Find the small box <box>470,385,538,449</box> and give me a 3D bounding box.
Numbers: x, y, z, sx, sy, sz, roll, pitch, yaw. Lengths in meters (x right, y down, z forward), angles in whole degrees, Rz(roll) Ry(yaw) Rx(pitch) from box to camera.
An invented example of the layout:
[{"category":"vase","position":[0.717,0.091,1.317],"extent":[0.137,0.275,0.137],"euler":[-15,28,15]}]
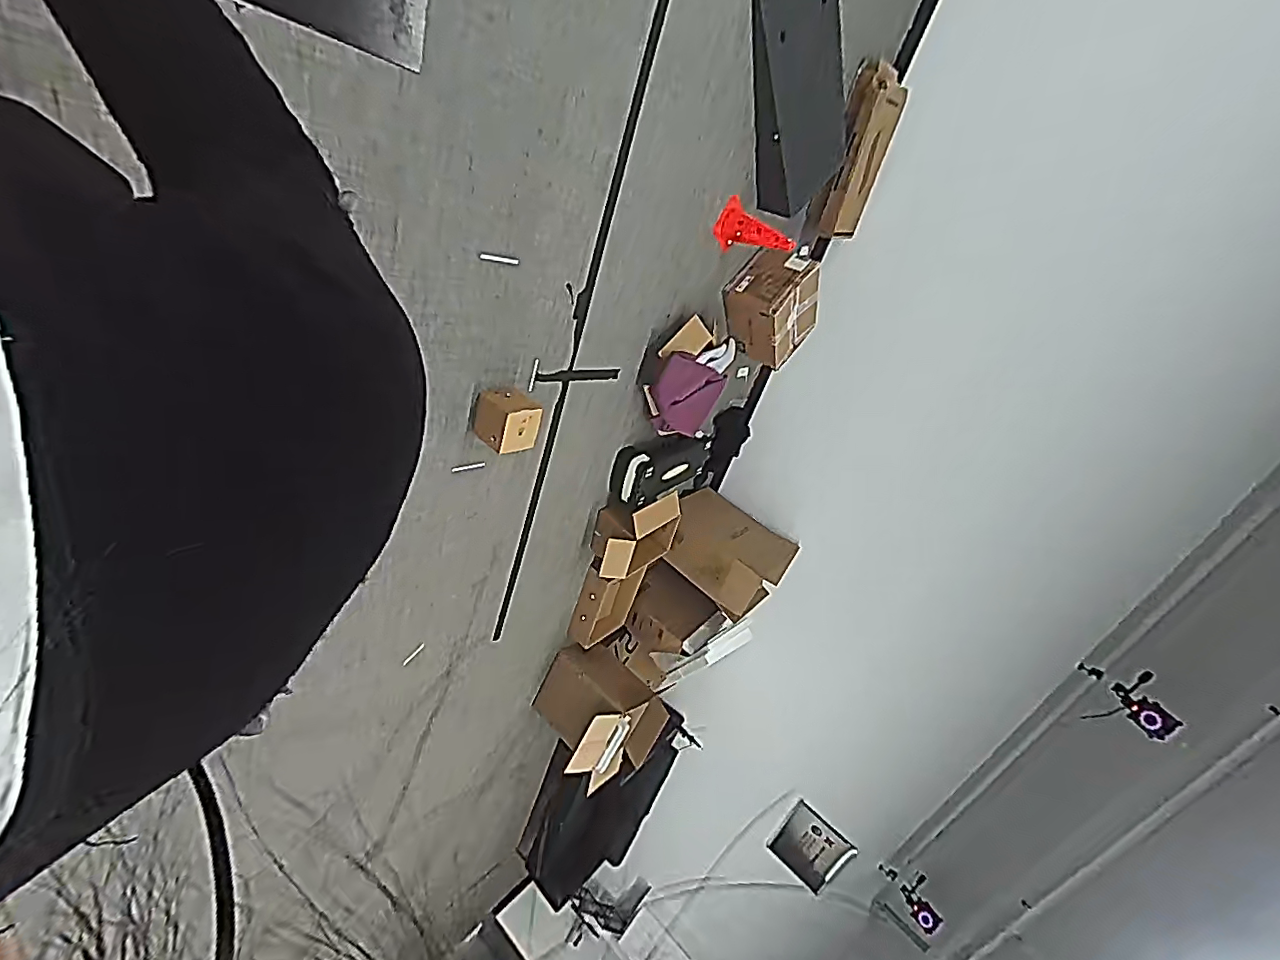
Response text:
[{"category":"small box","position":[-0.517,-0.240,2.035],"extent":[0.168,0.176,0.179],"euler":[-18,137,-50]}]
